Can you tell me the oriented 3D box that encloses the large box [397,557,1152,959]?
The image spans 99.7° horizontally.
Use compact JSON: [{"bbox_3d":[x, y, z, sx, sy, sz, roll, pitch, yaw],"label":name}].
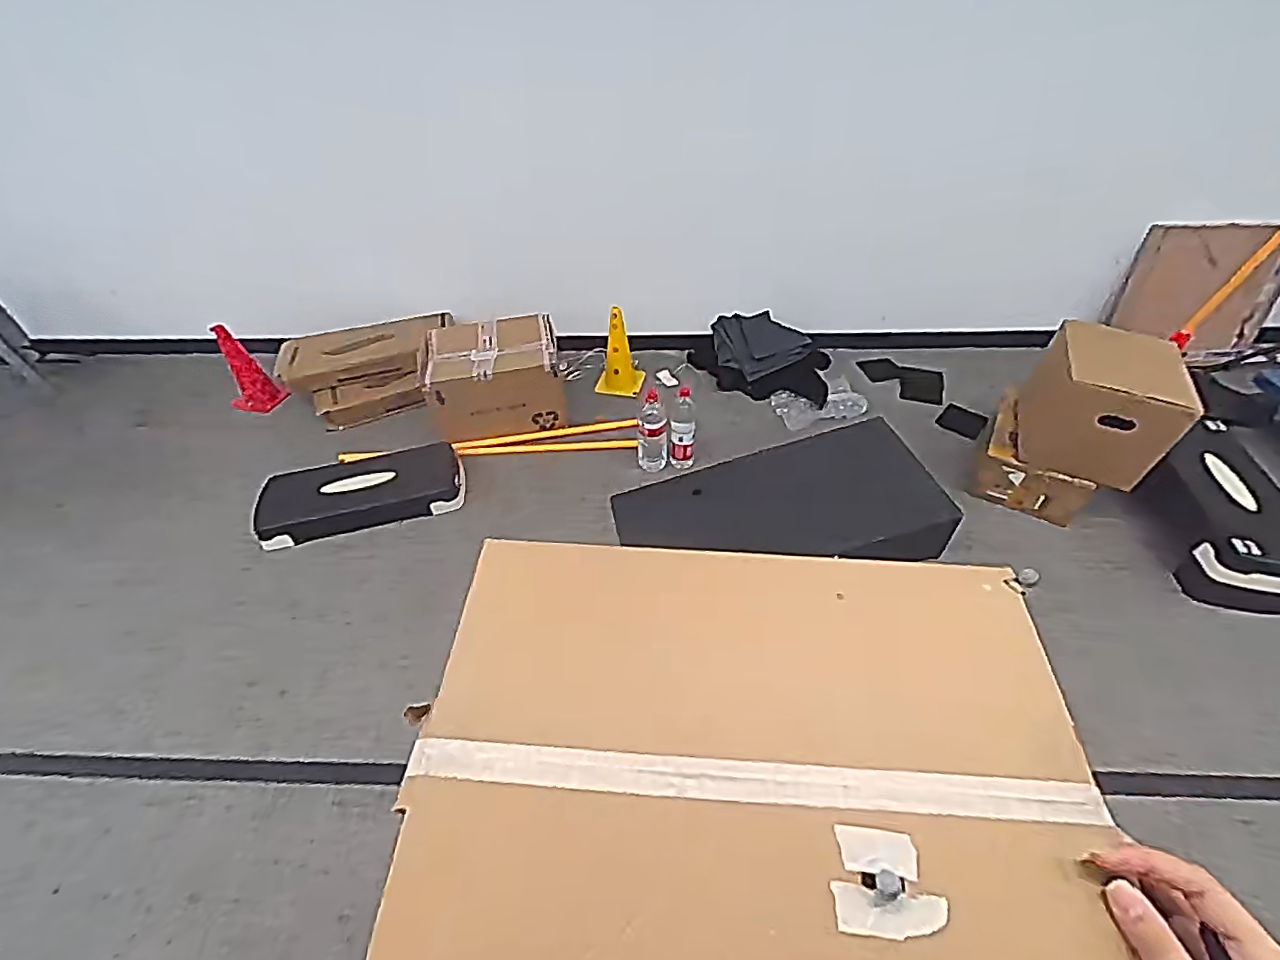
[{"bbox_3d":[0.073,0.280,0.449,0.408,0.320,0.320,3,53,2],"label":"large box"}]
